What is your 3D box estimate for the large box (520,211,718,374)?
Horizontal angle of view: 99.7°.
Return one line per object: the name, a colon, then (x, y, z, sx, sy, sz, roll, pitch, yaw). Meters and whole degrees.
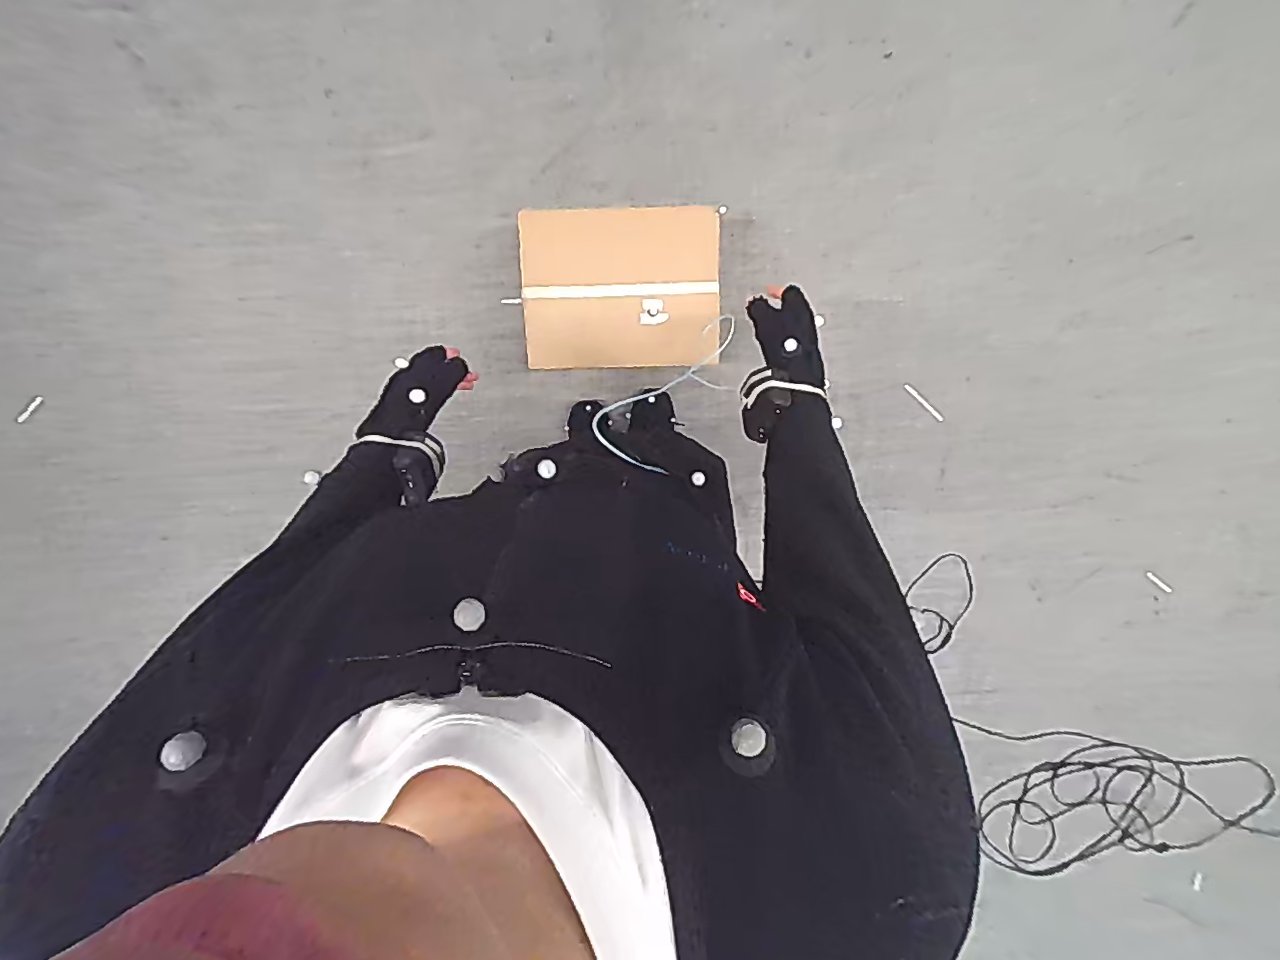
large box: (-0.040, -0.410, 1.255, 0.408, 0.320, 0.320, -1, 102, 0)
